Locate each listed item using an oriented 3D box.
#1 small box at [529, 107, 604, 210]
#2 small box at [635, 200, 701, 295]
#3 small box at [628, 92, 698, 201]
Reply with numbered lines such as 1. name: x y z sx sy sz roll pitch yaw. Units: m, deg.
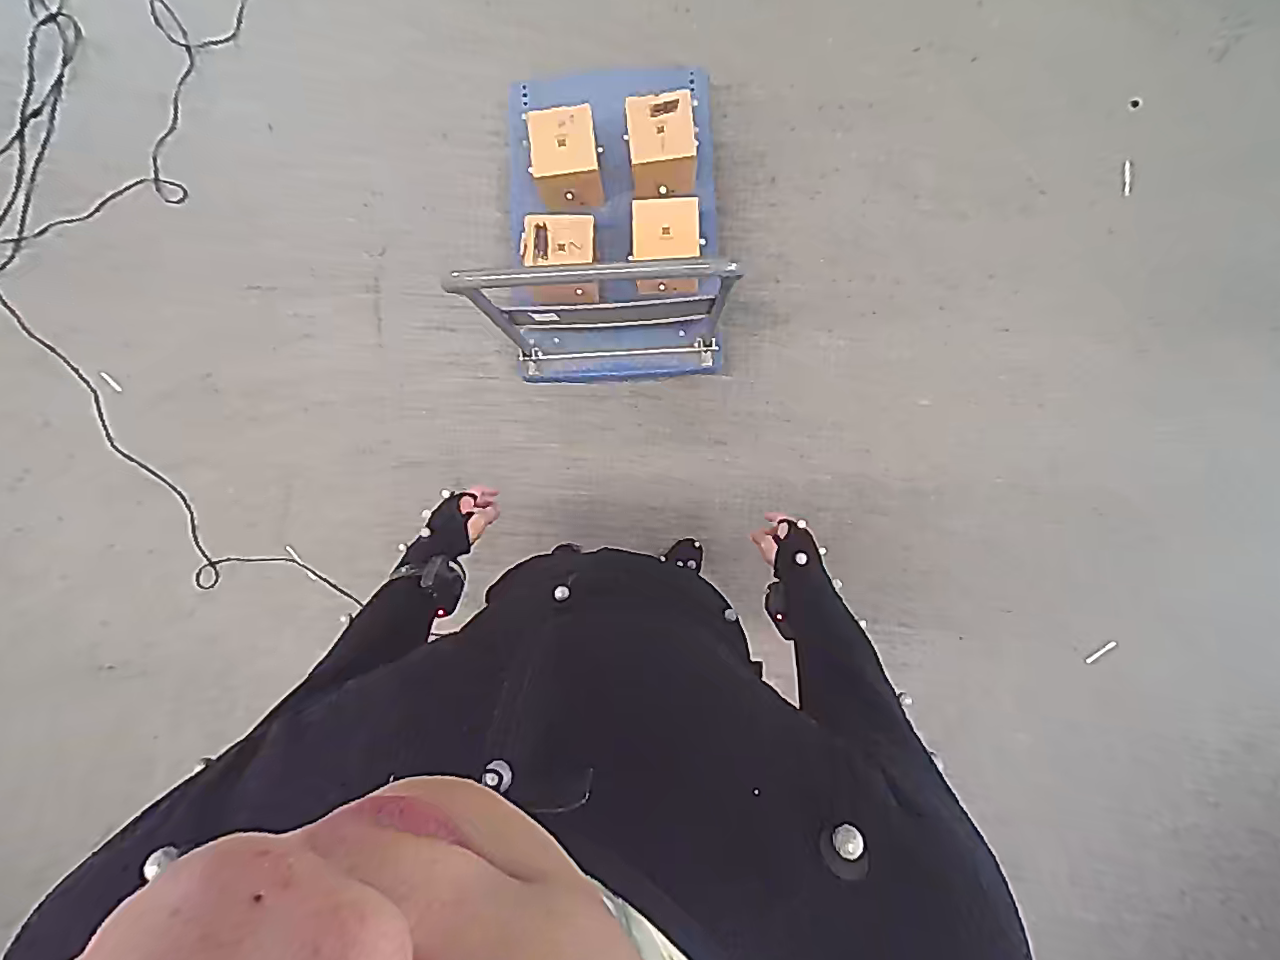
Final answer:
1. small box: -0.190 -0.846 1.443 0.168 0.176 0.179 -6 87 2
2. small box: 0.071 -0.605 1.421 0.168 0.176 0.179 -1 88 3
3. small box: 0.060 -0.875 1.431 0.168 0.176 0.179 -6 88 3
